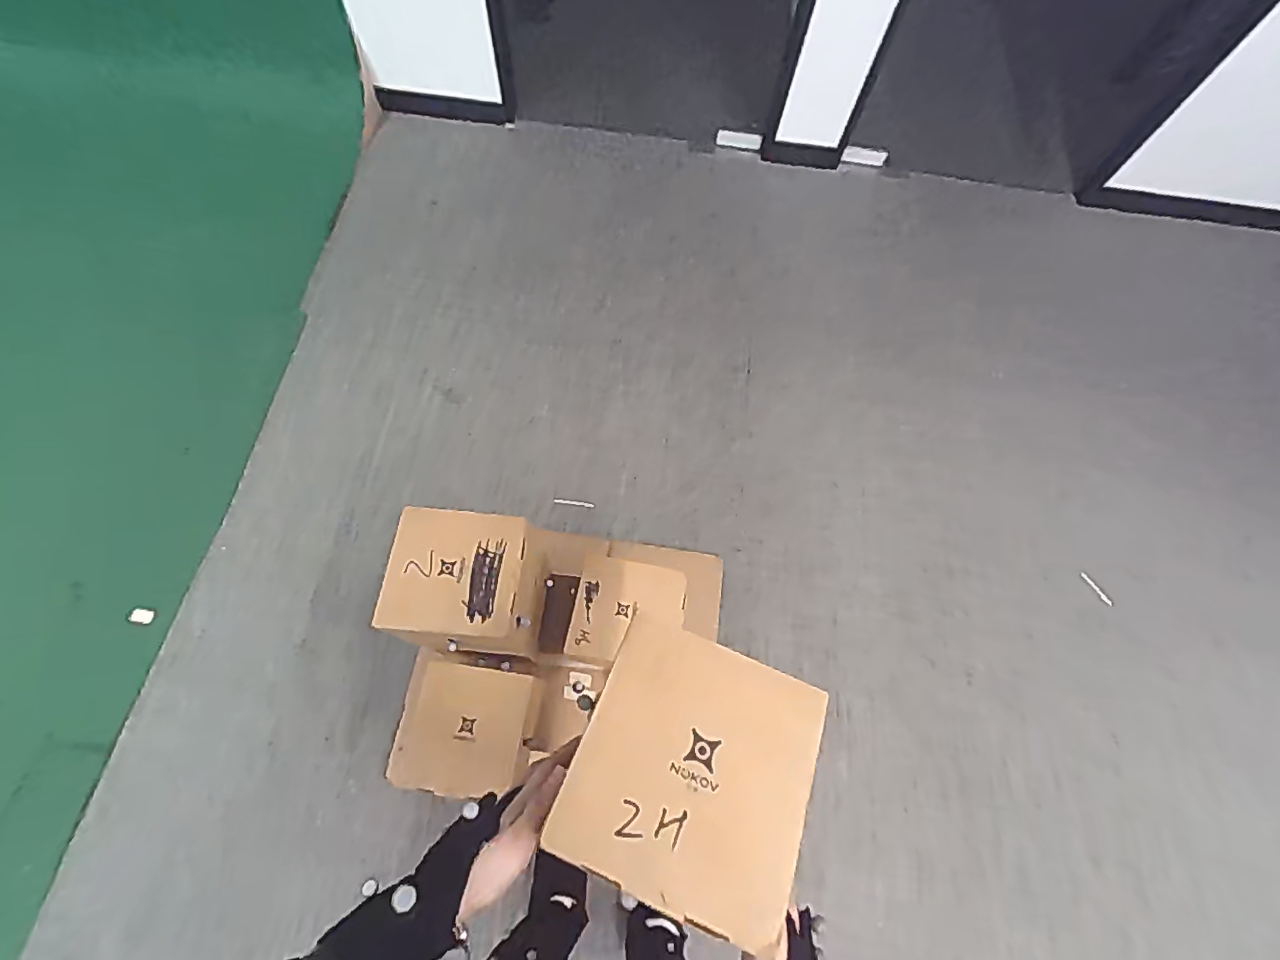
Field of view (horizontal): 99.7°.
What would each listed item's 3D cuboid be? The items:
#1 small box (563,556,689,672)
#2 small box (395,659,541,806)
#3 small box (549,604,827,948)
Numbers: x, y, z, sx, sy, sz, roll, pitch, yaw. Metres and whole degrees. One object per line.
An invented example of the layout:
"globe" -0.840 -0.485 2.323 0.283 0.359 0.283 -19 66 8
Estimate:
"small box" -0.022 0.245 0.938 0.179 0.176 0.168 12 68 3
"small box" -0.258 0.393 0.861 0.168 0.176 0.179 10 69 -1
"small box" 0.033 0.239 0.458 0.168 0.176 0.179 22 58 6
